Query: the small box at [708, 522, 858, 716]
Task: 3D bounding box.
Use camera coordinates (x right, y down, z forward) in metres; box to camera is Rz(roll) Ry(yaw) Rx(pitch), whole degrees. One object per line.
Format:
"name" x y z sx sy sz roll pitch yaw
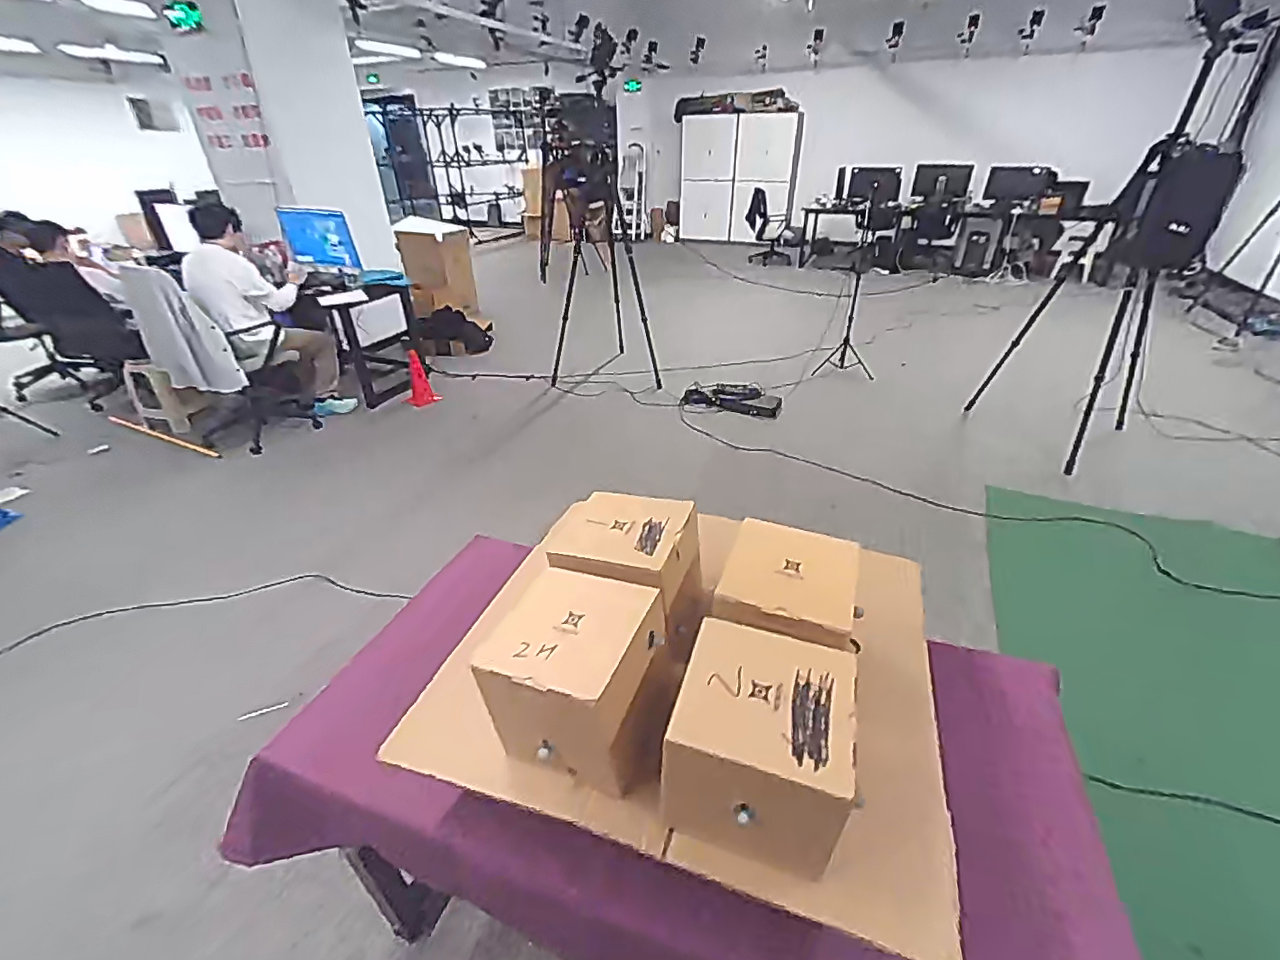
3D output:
"small box" 0.199 0.191 0.764 0.168 0.176 0.179 13 36 17
